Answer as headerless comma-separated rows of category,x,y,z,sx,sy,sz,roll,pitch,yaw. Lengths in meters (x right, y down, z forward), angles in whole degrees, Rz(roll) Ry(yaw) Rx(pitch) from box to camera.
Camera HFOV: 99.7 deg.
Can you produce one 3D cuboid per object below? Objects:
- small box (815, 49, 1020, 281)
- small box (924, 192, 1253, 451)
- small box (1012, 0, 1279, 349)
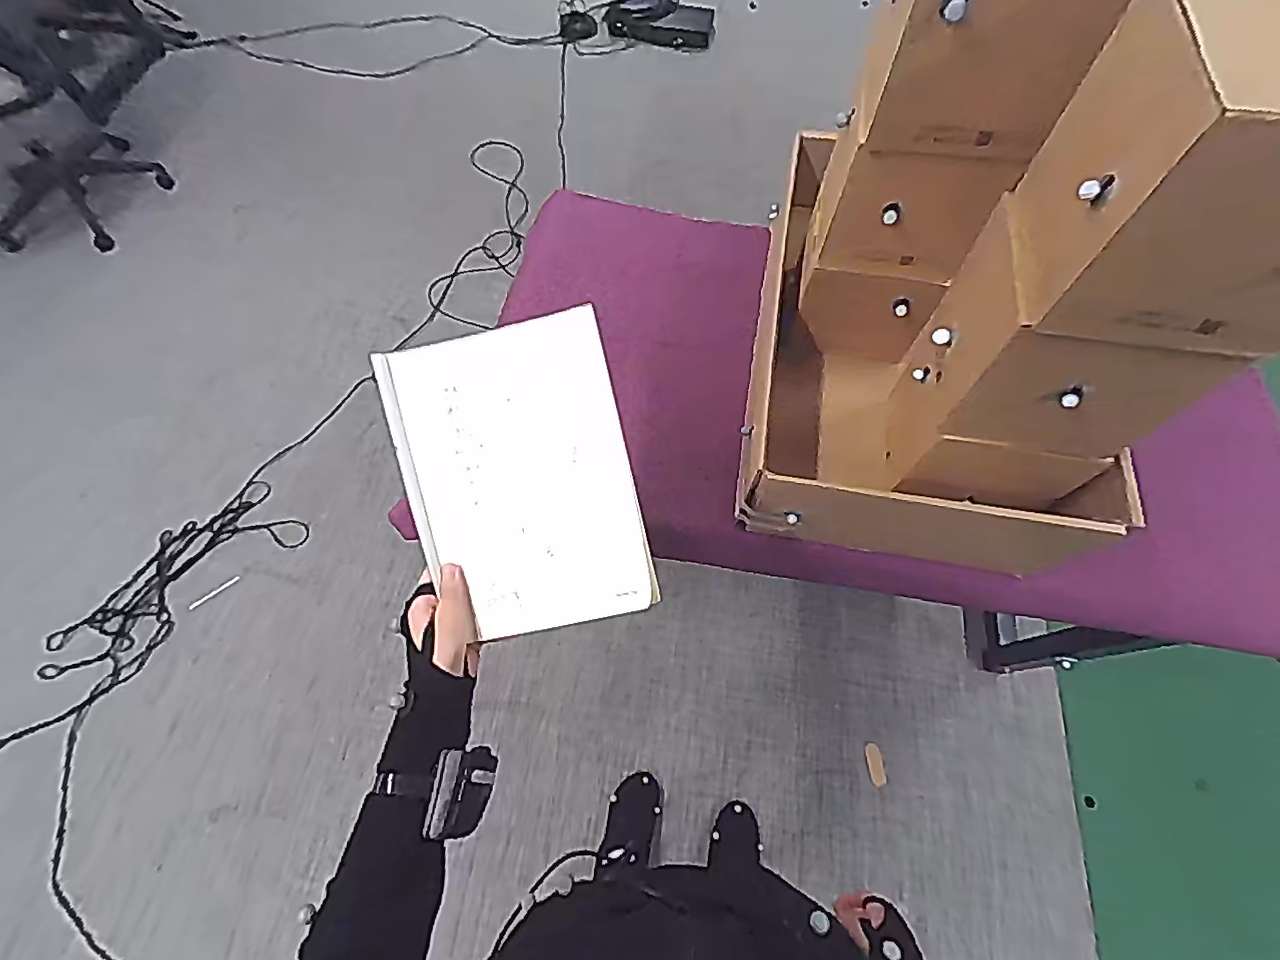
small box,0.314,-0.365,0.643,0.168,0.176,0.179,10,67,7
small box,0.403,-0.145,0.527,0.179,0.176,0.168,9,64,9
small box,0.397,-0.217,0.380,0.168,0.176,0.179,10,63,8
